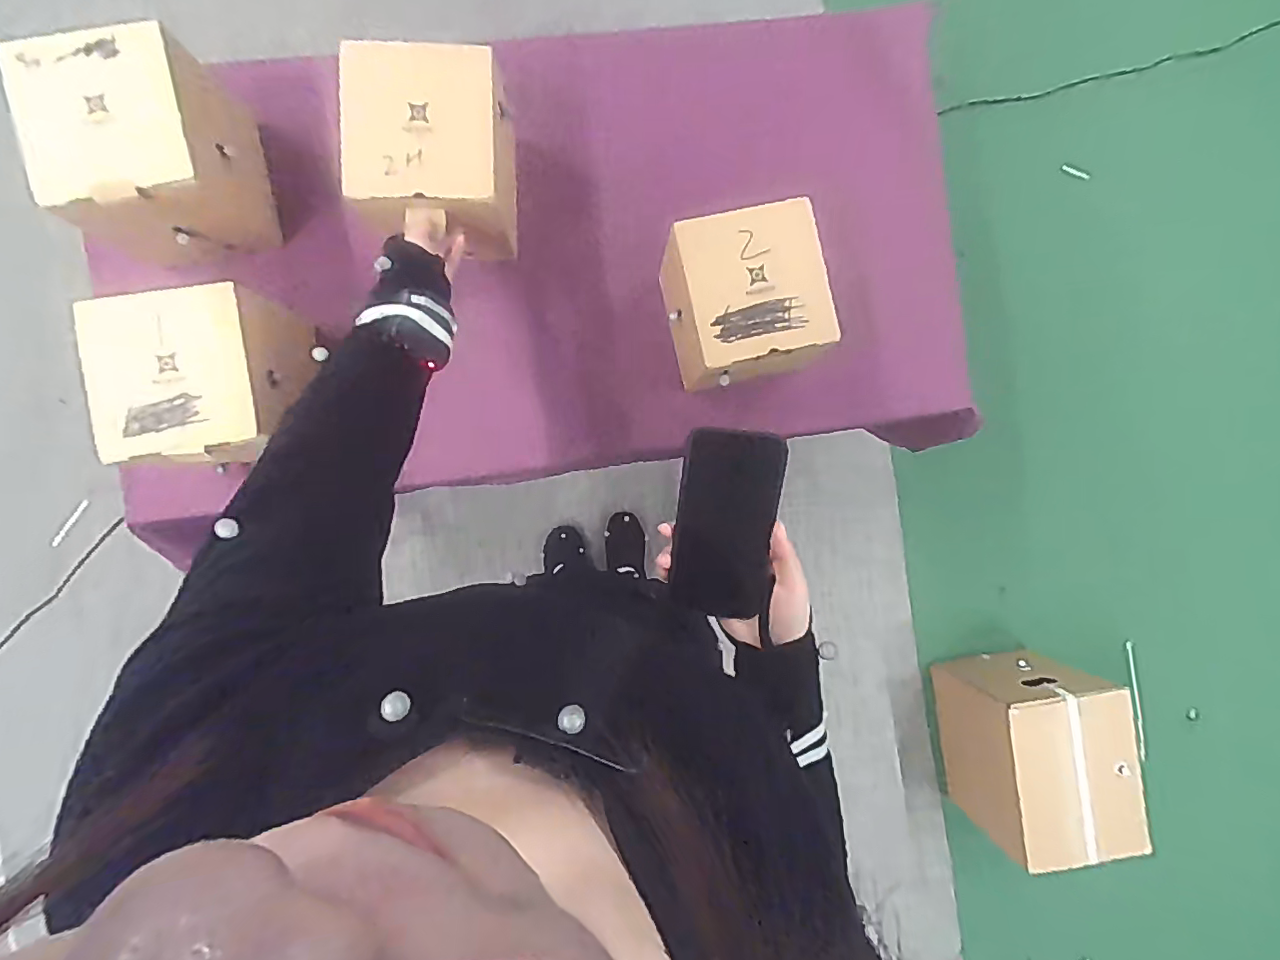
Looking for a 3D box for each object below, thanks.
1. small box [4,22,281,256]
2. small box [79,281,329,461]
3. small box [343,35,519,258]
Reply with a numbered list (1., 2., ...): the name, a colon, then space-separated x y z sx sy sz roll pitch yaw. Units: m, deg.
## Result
1. small box: -0.575 -0.390 0.654 0.168 0.176 0.179 -12 92 -4
2. small box: -0.509 -0.119 0.661 0.168 0.176 0.179 -9 90 -5
3. small box: -0.249 -0.401 0.676 0.168 0.176 0.179 0 91 -3
